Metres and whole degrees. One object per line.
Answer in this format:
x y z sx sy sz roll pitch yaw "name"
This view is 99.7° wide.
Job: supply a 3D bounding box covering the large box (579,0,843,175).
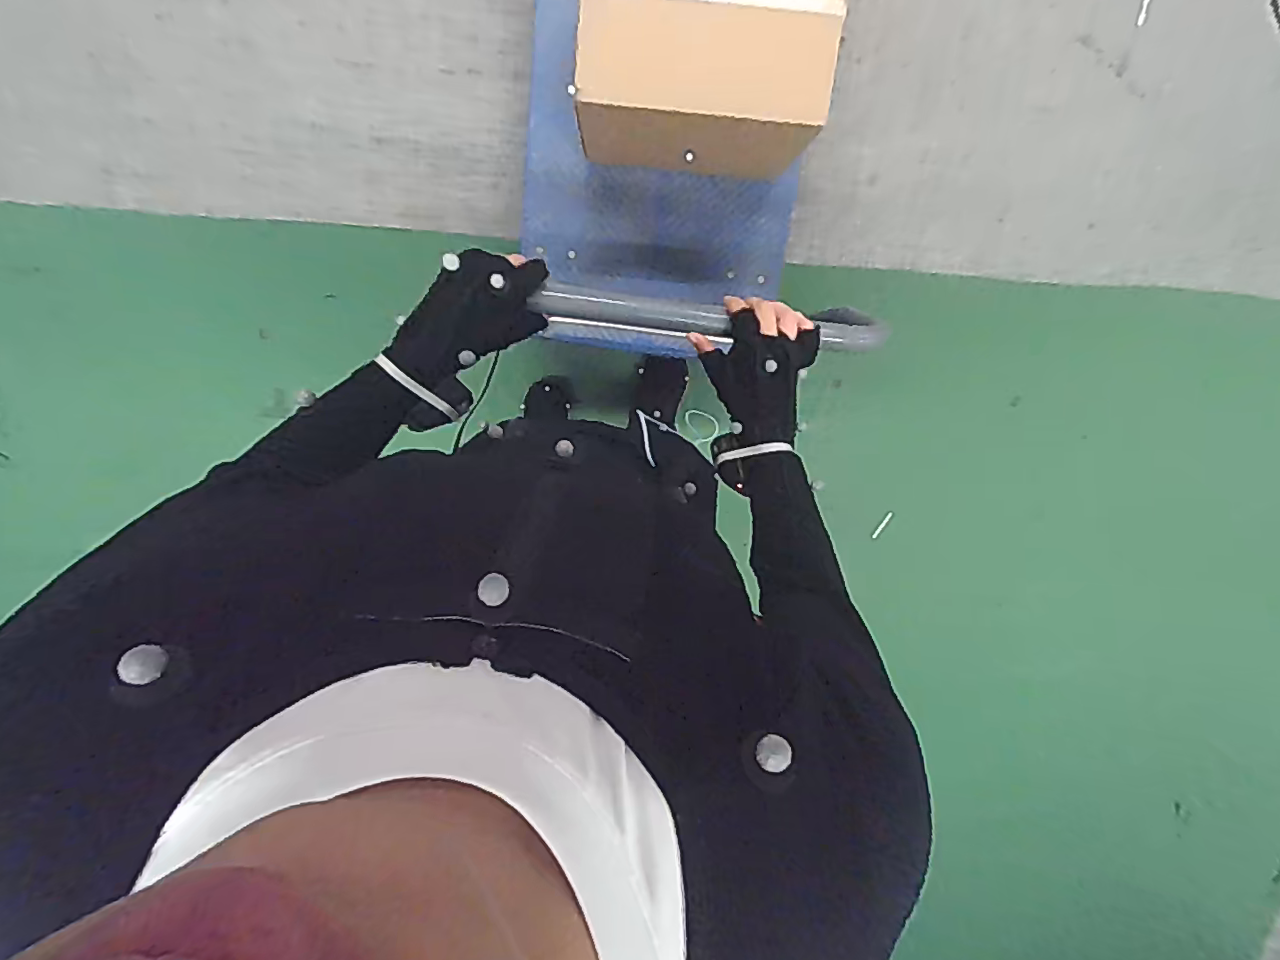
0.110 -0.768 0.966 0.408 0.320 0.320 4 103 -2 "large box"
